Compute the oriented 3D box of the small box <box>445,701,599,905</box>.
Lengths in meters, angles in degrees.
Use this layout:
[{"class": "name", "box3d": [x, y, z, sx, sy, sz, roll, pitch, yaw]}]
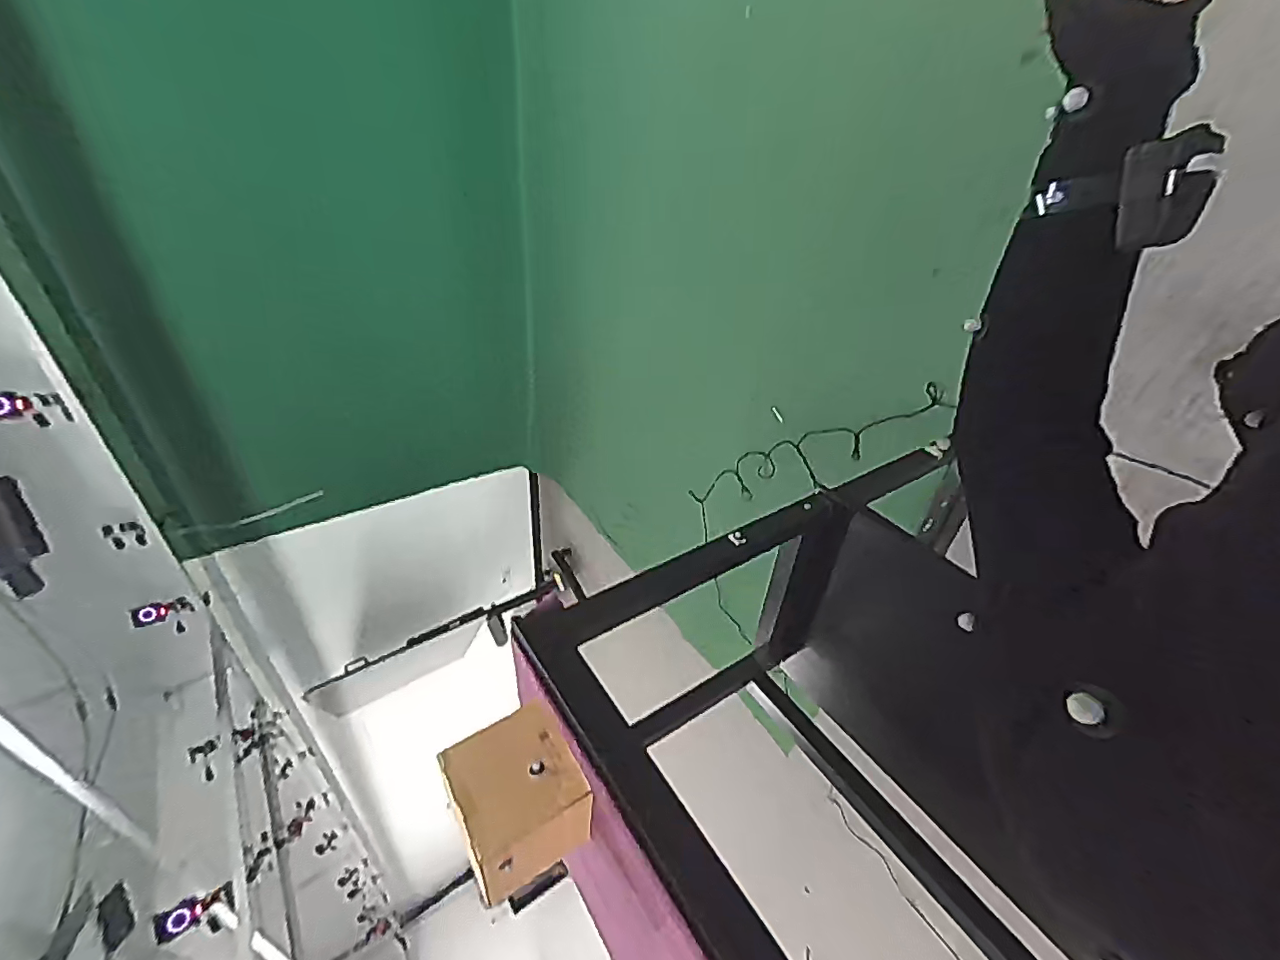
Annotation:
[{"class": "small box", "box3d": [-0.172, 0.474, 0.809, 0.168, 0.176, 0.179, 43, 140, 39]}]
